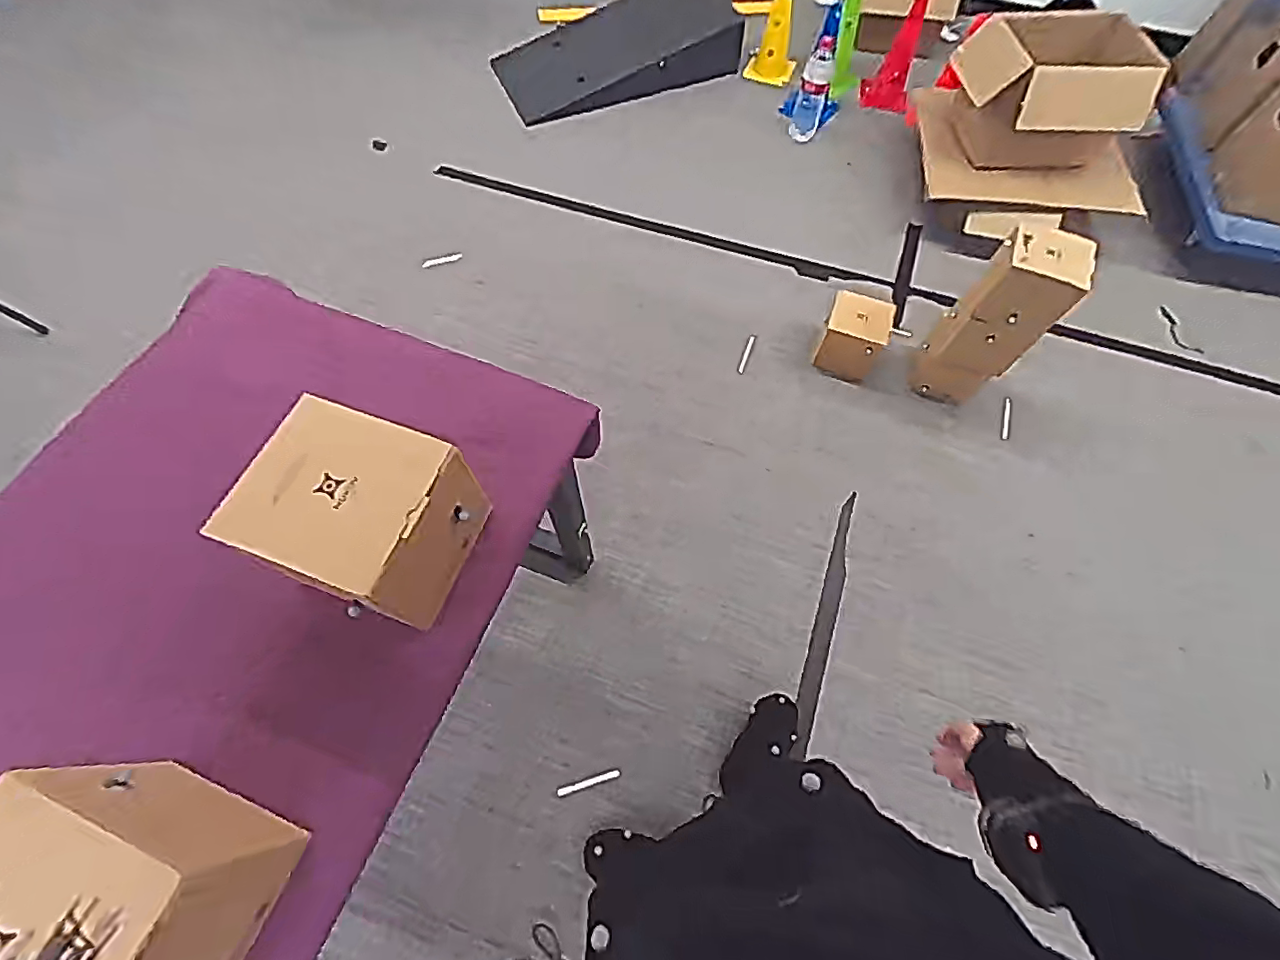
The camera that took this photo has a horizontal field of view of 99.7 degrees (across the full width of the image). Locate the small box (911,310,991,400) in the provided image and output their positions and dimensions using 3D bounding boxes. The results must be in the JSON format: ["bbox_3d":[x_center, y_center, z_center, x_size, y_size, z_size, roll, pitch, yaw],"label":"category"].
[{"bbox_3d":[0.934,-0.365,1.611,0.168,0.176,0.179,19,66,6],"label":"small box"}]

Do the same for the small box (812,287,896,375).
[{"bbox_3d":[0.642,-0.445,1.640,0.179,0.176,0.168,20,66,7],"label":"small box"}]

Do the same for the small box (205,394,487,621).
[{"bbox_3d":[-0.288,0.040,0.582,0.179,0.176,0.168,18,65,7],"label":"small box"}]

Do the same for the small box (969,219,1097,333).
[{"bbox_3d":[0.942,-0.483,1.304,0.179,0.176,0.168,24,67,8],"label":"small box"}]

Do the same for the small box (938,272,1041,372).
[{"bbox_3d":[0.938,-0.418,1.454,0.179,0.176,0.168,21,67,7],"label":"small box"}]
